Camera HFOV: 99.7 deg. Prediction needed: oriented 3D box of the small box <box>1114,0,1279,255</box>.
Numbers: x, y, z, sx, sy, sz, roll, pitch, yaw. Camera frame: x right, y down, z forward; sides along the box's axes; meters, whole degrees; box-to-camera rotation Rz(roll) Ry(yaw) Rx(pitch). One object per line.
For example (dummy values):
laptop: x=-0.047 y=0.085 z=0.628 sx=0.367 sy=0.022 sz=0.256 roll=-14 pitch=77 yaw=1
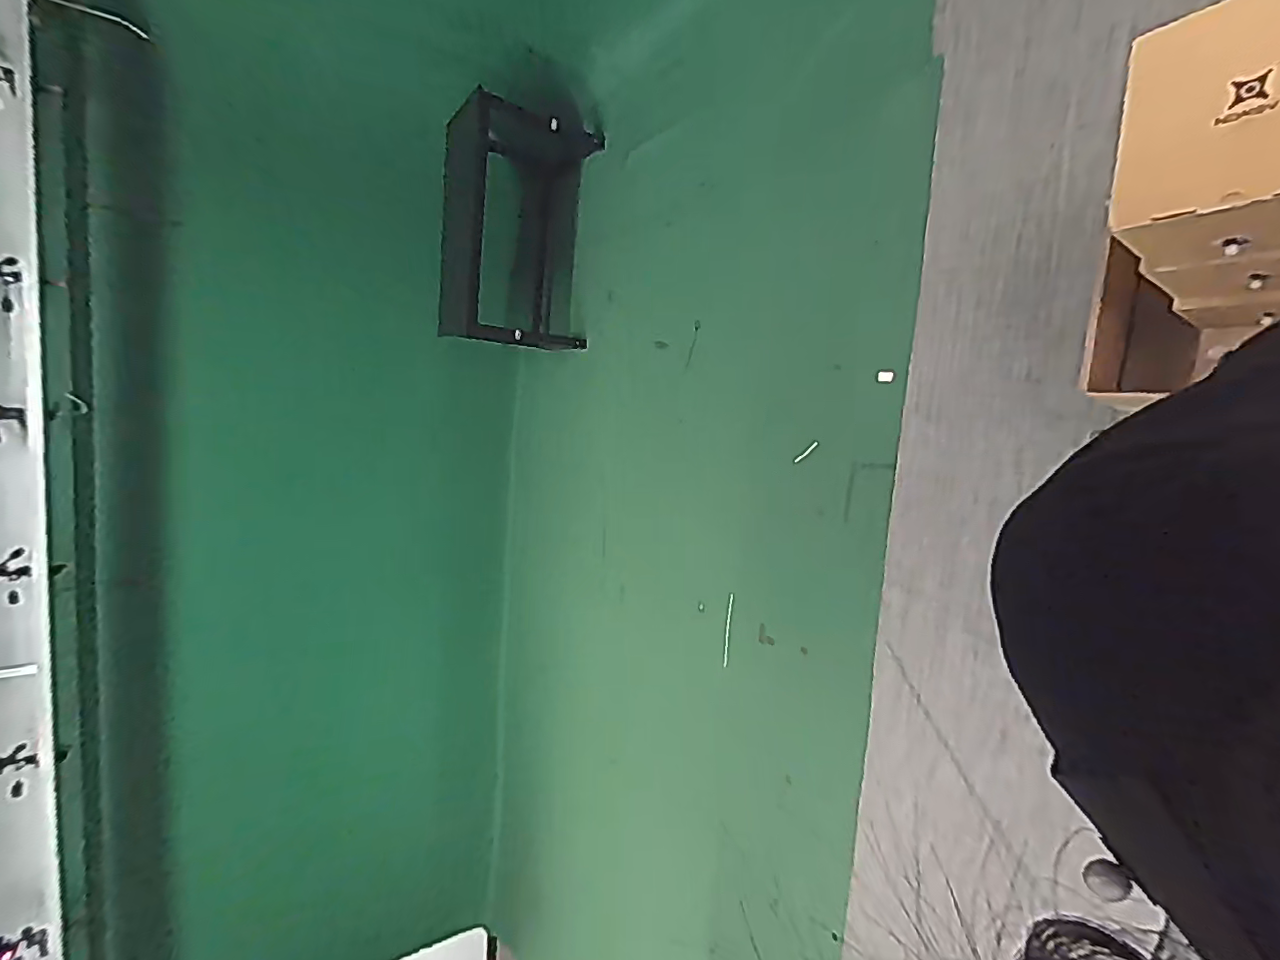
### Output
small box: x=0.567 y=-0.326 z=0.485 sx=0.168 sy=0.176 sz=0.179 roll=11 pitch=99 yaw=55
